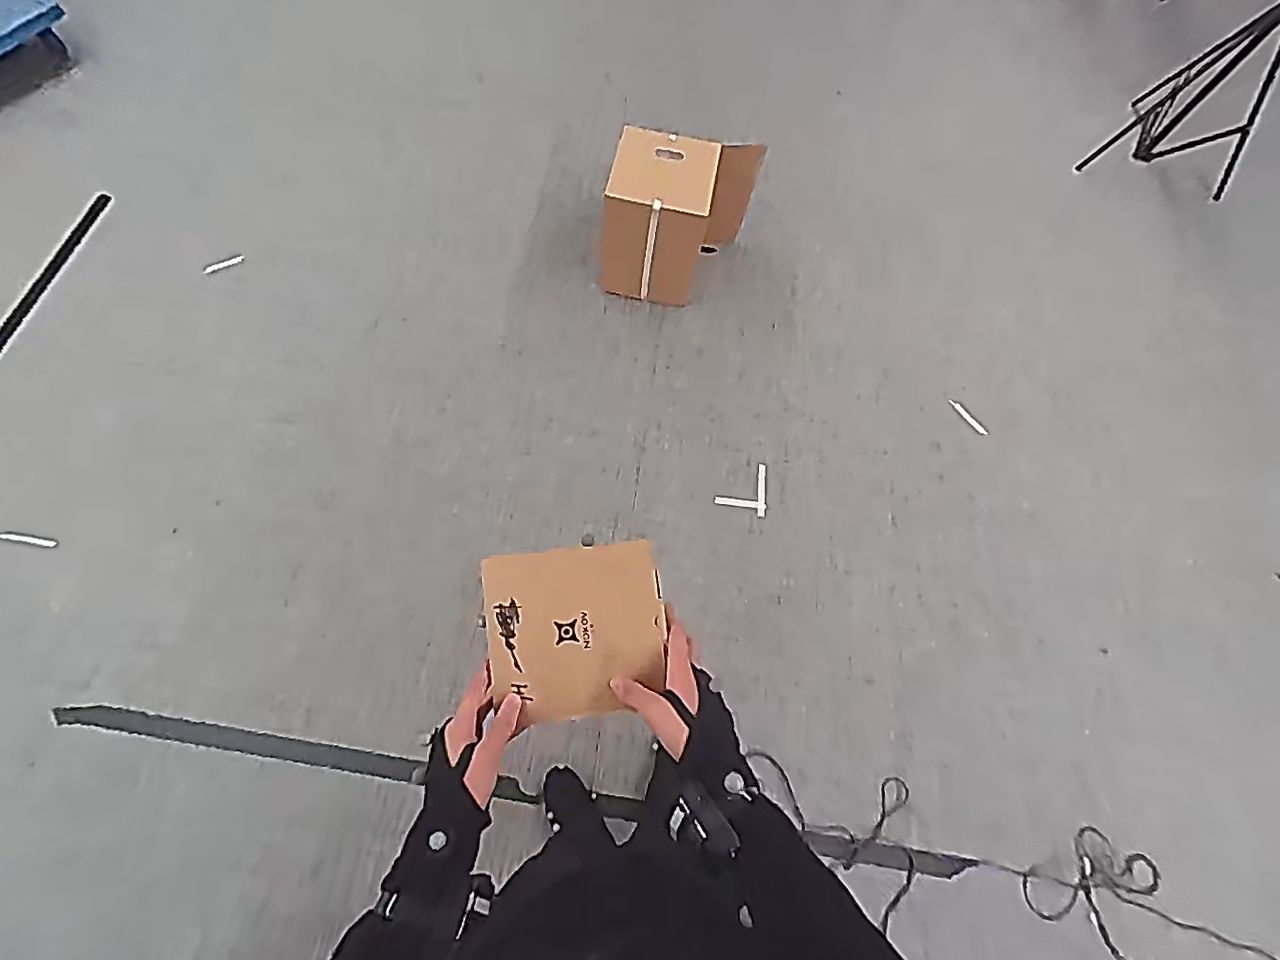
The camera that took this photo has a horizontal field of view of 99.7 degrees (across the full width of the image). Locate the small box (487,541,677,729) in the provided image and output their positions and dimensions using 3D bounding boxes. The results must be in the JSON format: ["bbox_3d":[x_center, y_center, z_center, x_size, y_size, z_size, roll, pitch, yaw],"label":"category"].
[{"bbox_3d":[-0.060,0.158,0.608,0.179,0.176,0.168,-6,84,-2],"label":"small box"}]
